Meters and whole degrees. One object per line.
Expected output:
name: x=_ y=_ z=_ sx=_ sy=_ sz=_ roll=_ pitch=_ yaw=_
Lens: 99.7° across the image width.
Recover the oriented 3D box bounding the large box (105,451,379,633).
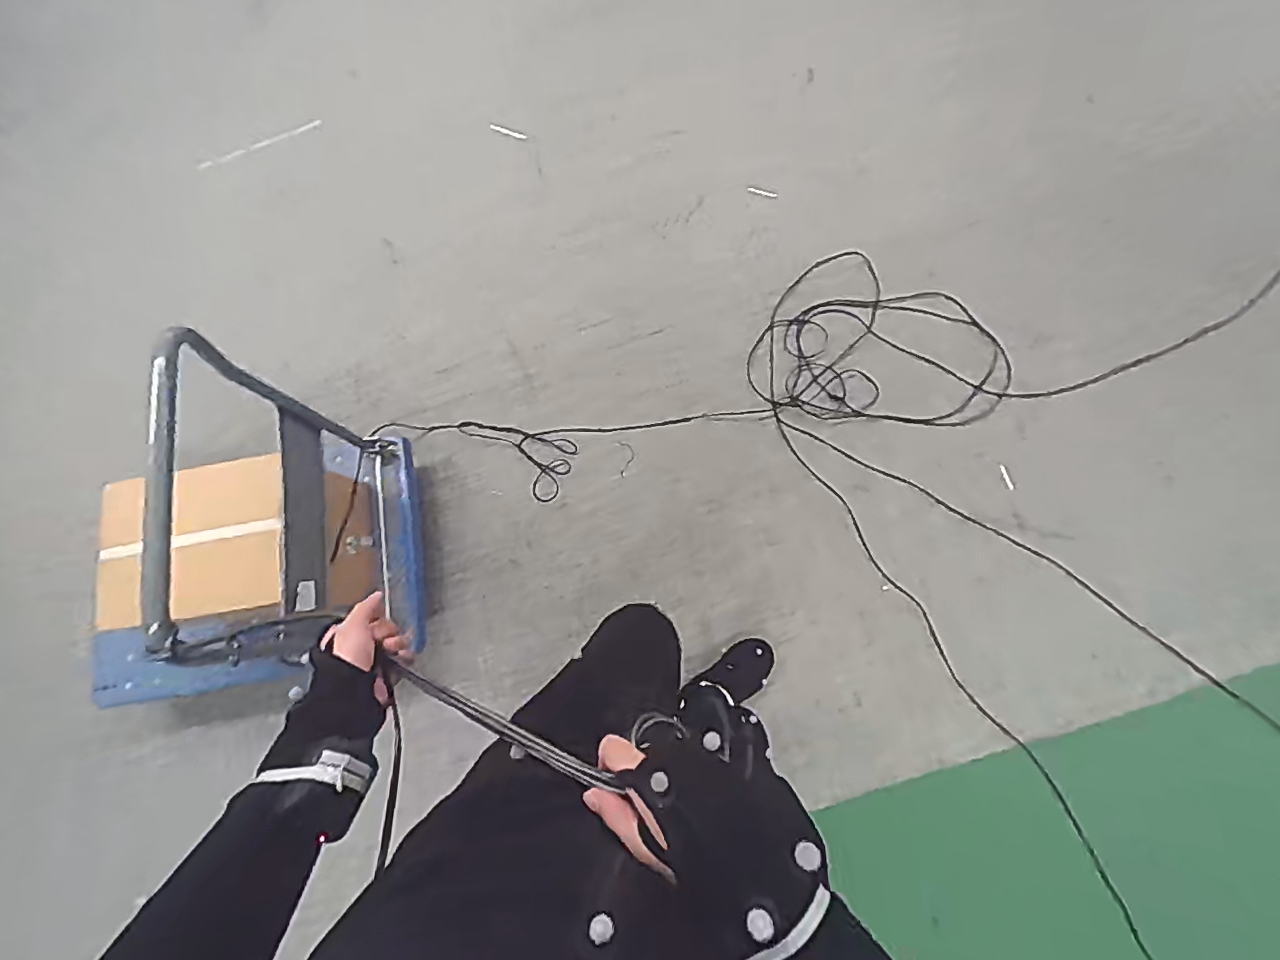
large box: x=-0.877 y=0.151 z=1.239 sx=0.408 sy=0.320 sz=0.320 roll=-10 pitch=77 yaw=4
